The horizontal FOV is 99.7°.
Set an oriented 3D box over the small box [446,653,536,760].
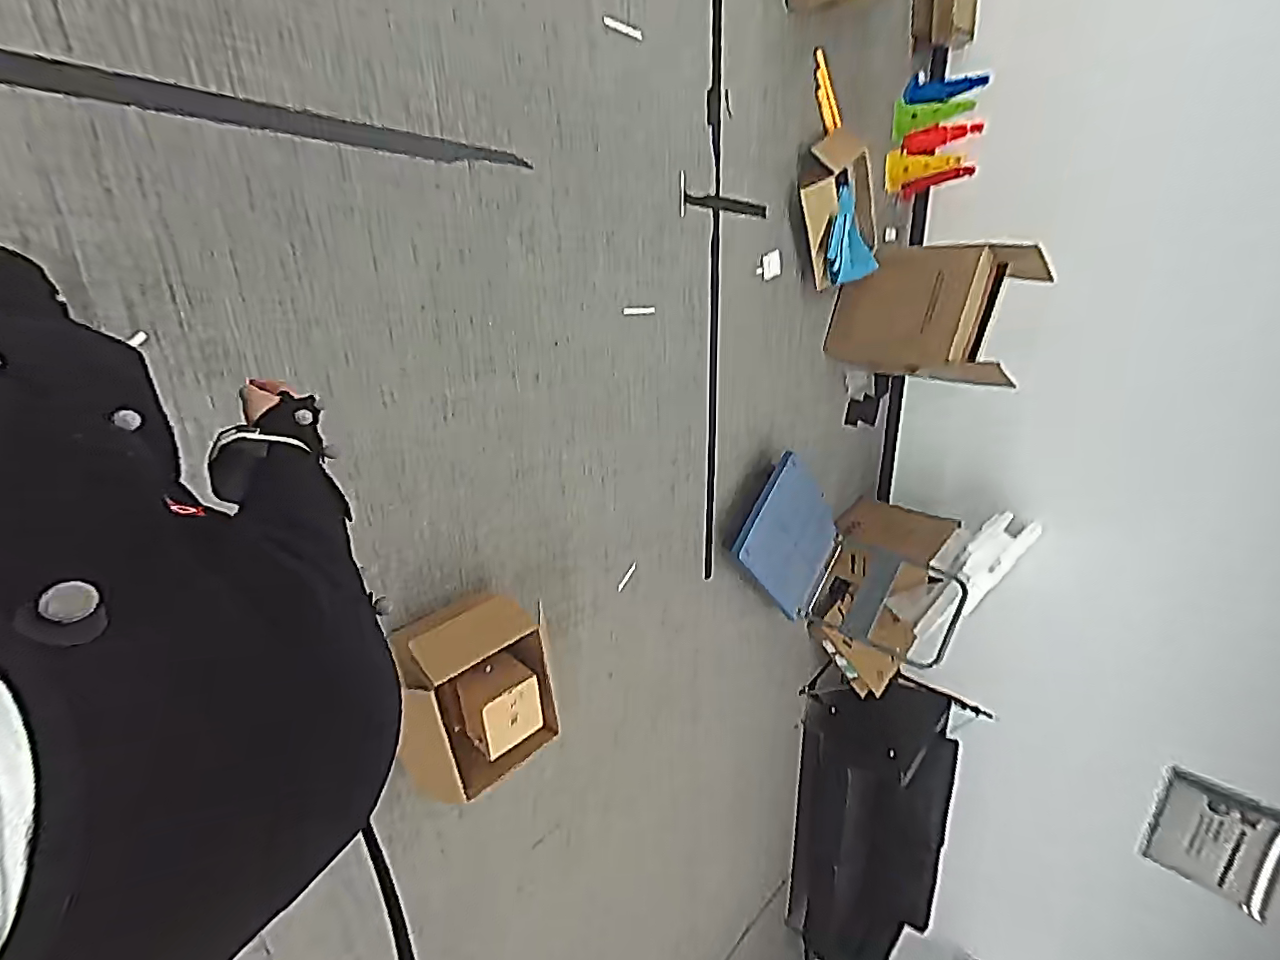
[{"bbox_3d":[-0.406,0.608,1.474,0.168,0.176,0.179,-21,116,-42],"label":"small box"}]
